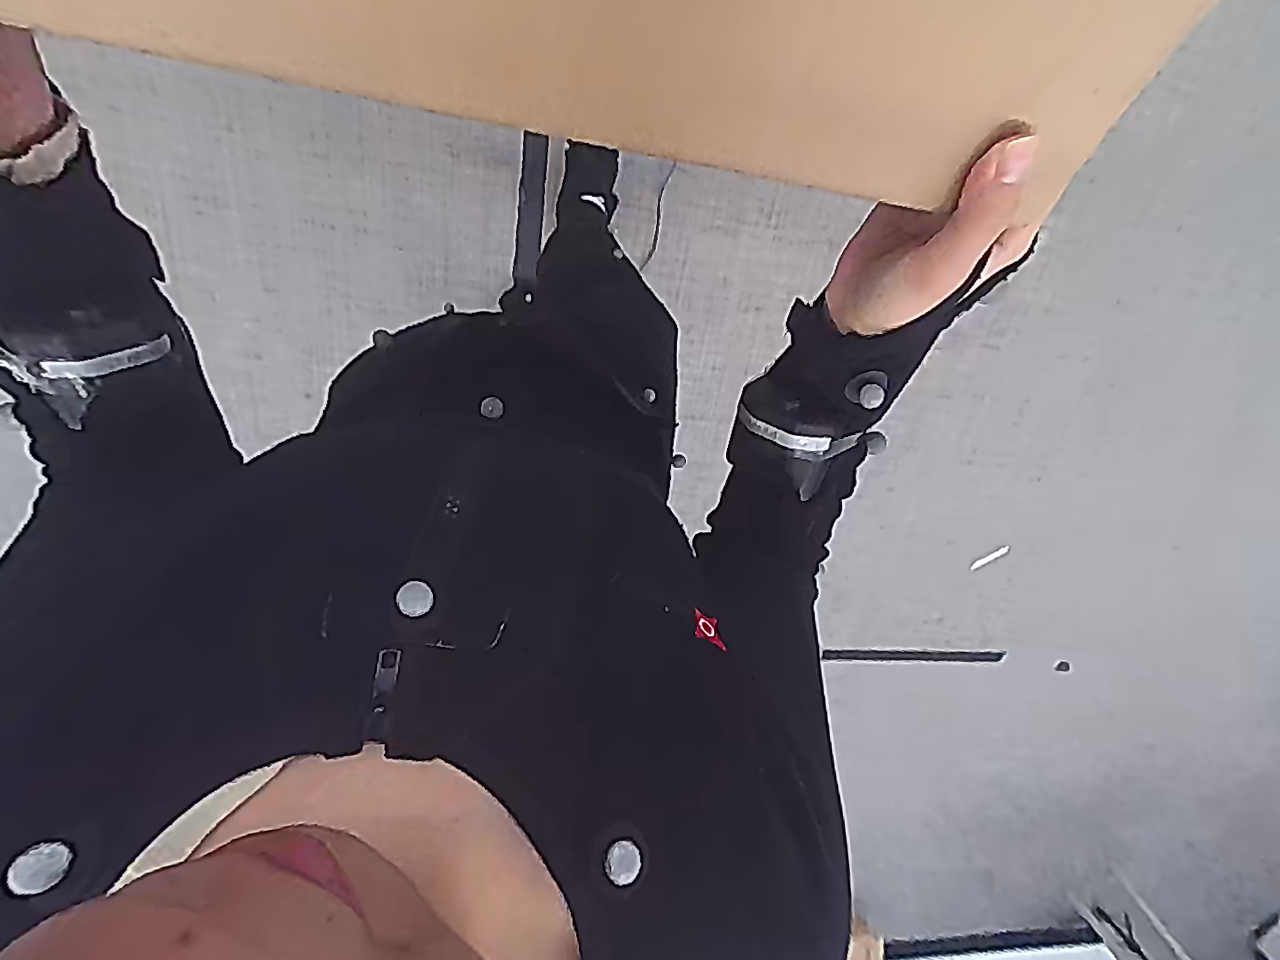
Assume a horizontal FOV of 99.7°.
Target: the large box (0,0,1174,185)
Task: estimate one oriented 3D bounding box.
[{"bbox_3d":[-0.014,-0.343,0.158,0.408,0.320,0.320,4,144,-10],"label":"large box"}]
